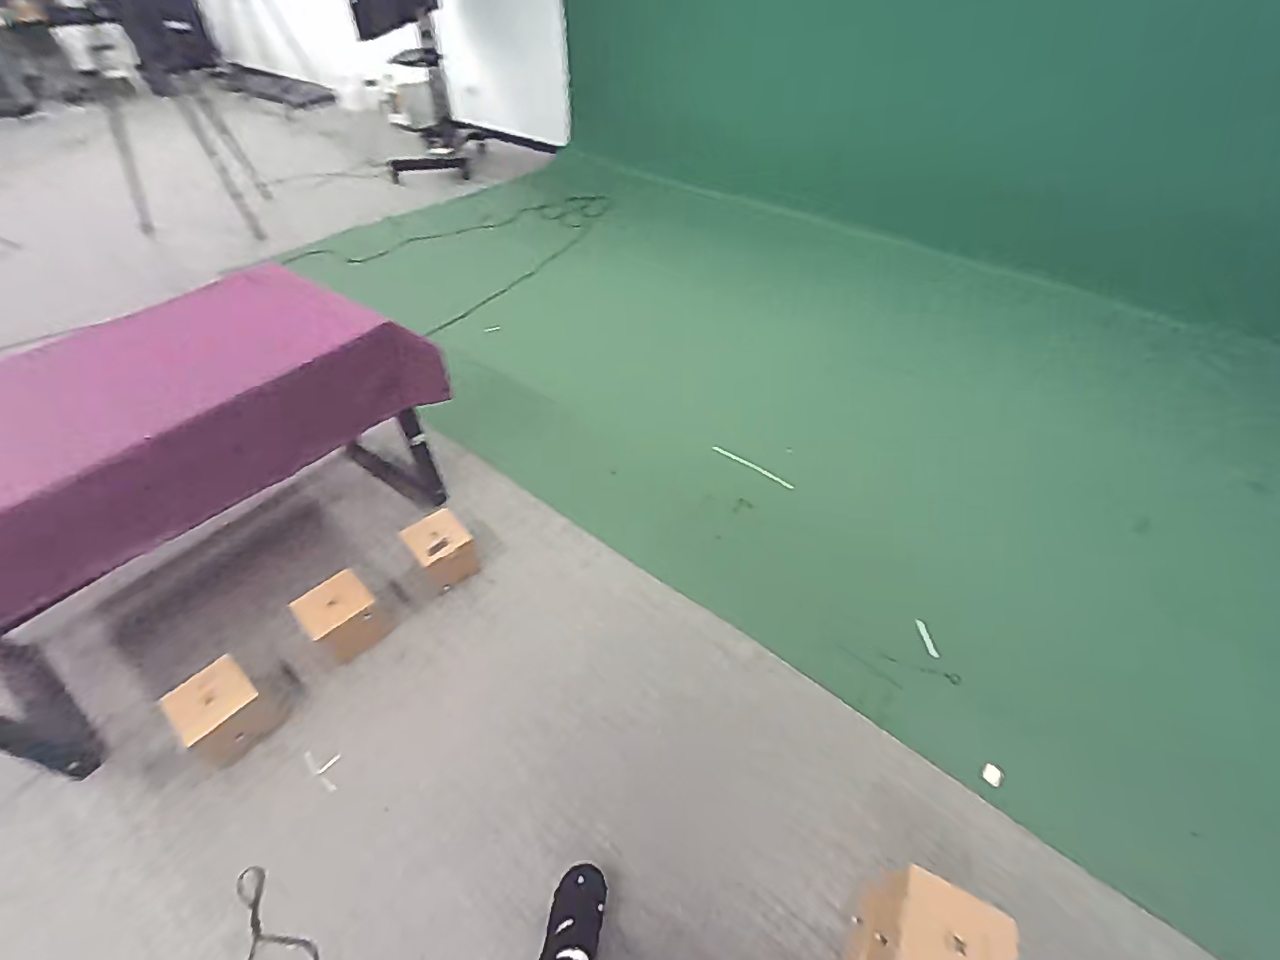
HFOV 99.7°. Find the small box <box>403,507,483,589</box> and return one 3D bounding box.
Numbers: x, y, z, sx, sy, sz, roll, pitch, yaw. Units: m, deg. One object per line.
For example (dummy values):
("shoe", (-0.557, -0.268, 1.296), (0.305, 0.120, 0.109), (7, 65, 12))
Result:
("small box", (-0.629, 0.227, 1.745), (0.168, 0.176, 0.179), (-32, 54, -28))

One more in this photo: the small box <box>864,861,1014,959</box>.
("small box", (0.516, 0.819, 0.948), (0.179, 0.176, 0.168), (23, 51, 19))
